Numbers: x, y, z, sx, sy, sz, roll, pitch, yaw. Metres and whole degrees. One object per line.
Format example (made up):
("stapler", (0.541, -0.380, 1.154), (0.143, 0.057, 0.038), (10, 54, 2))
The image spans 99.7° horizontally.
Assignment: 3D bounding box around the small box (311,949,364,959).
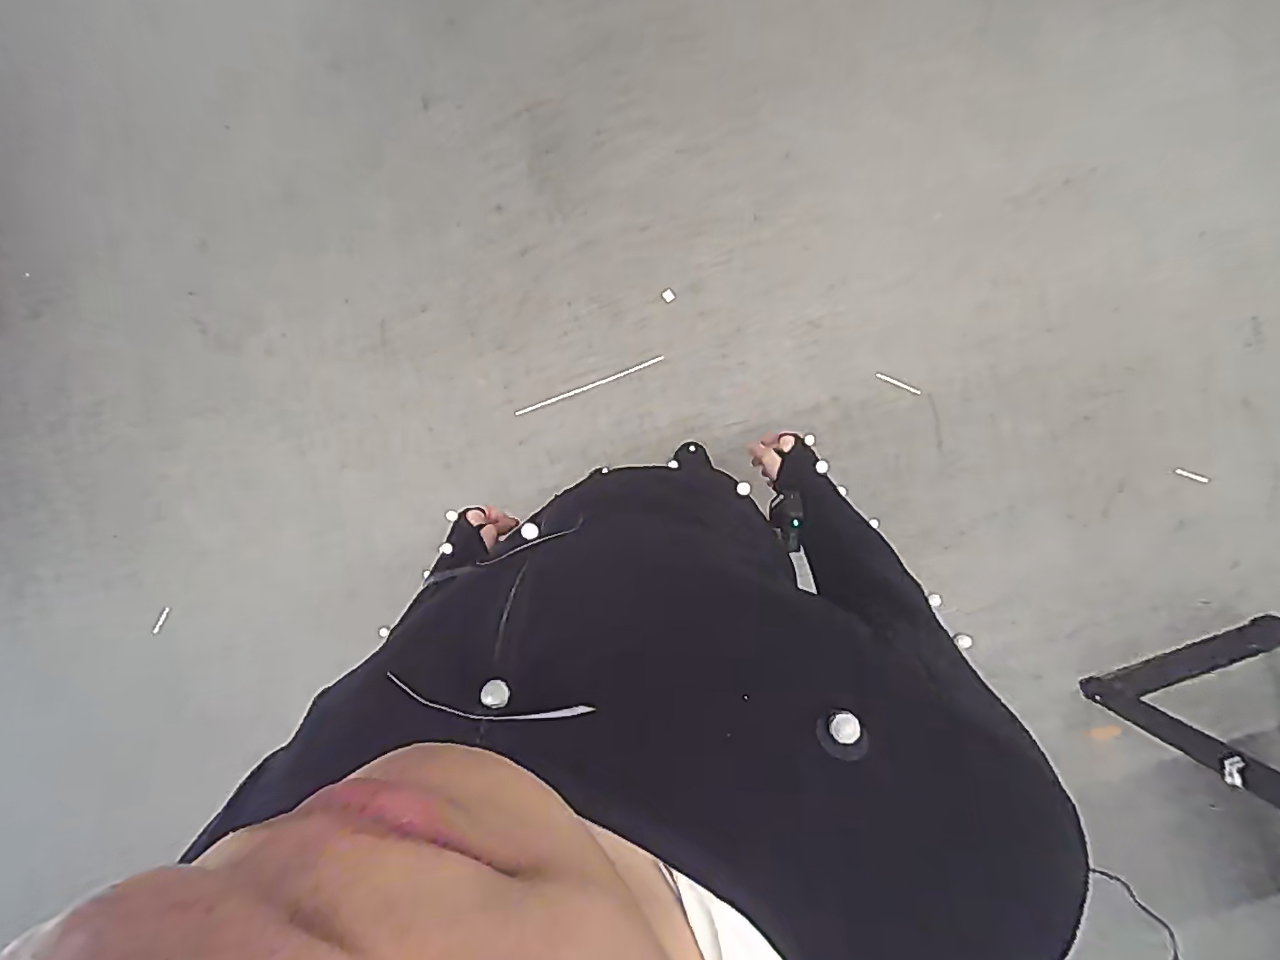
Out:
("small box", (-0.864, 1.446, 1.485), (0.168, 0.176, 0.179), (-20, 93, 3))
